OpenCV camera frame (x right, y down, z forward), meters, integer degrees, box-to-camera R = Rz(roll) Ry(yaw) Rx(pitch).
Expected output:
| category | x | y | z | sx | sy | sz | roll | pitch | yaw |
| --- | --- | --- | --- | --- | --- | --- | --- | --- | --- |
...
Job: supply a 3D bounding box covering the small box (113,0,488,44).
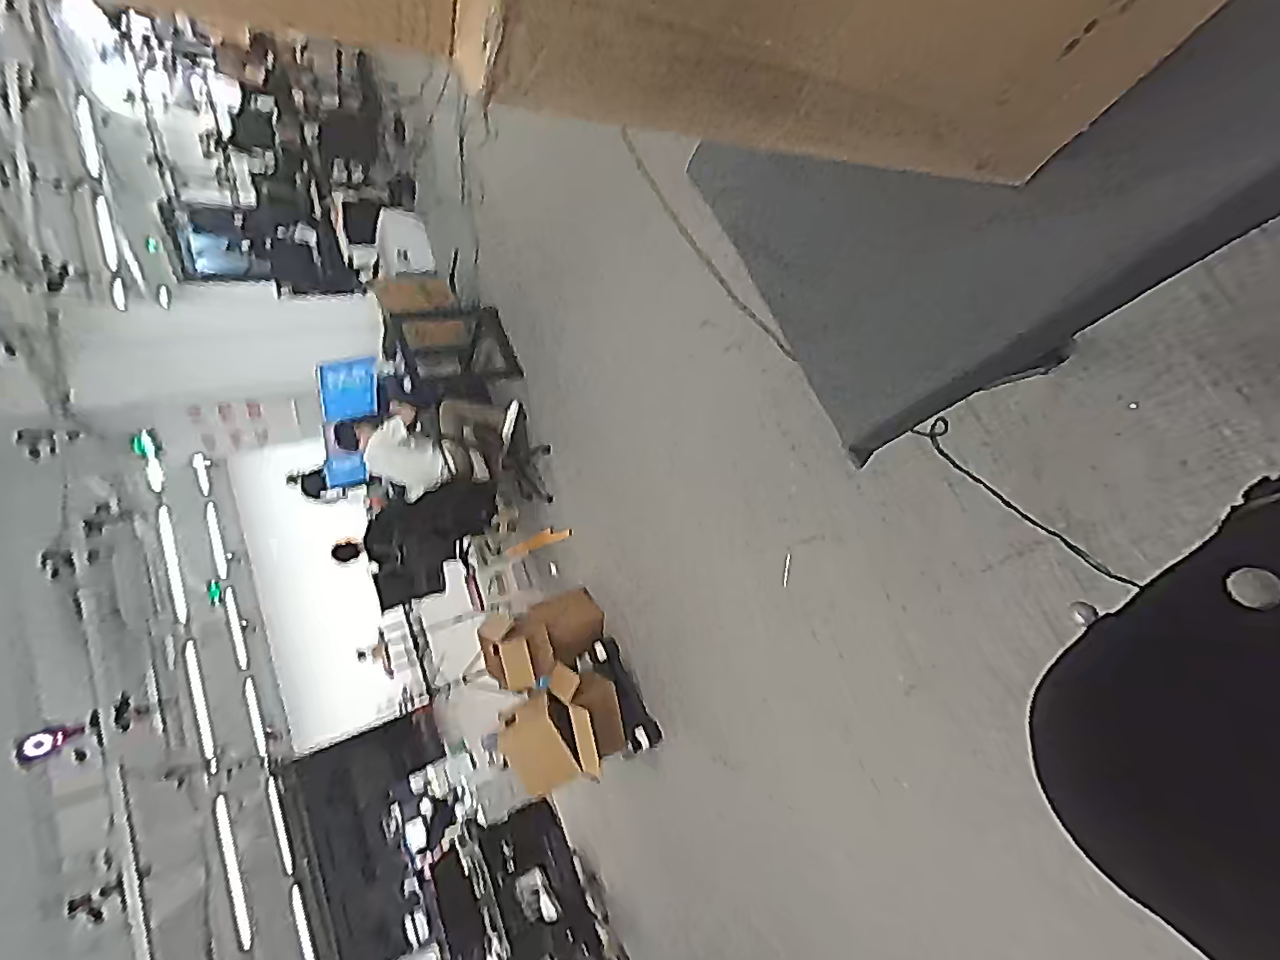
| category | x | y | z | sx | sy | sz | roll | pitch | yaw |
| --- | --- | --- | --- | --- | --- | --- | --- | --- | --- |
| small box | -0.155 | -0.318 | 0.221 | 0.179 | 0.176 | 0.168 | 61 | 147 | 19 |
